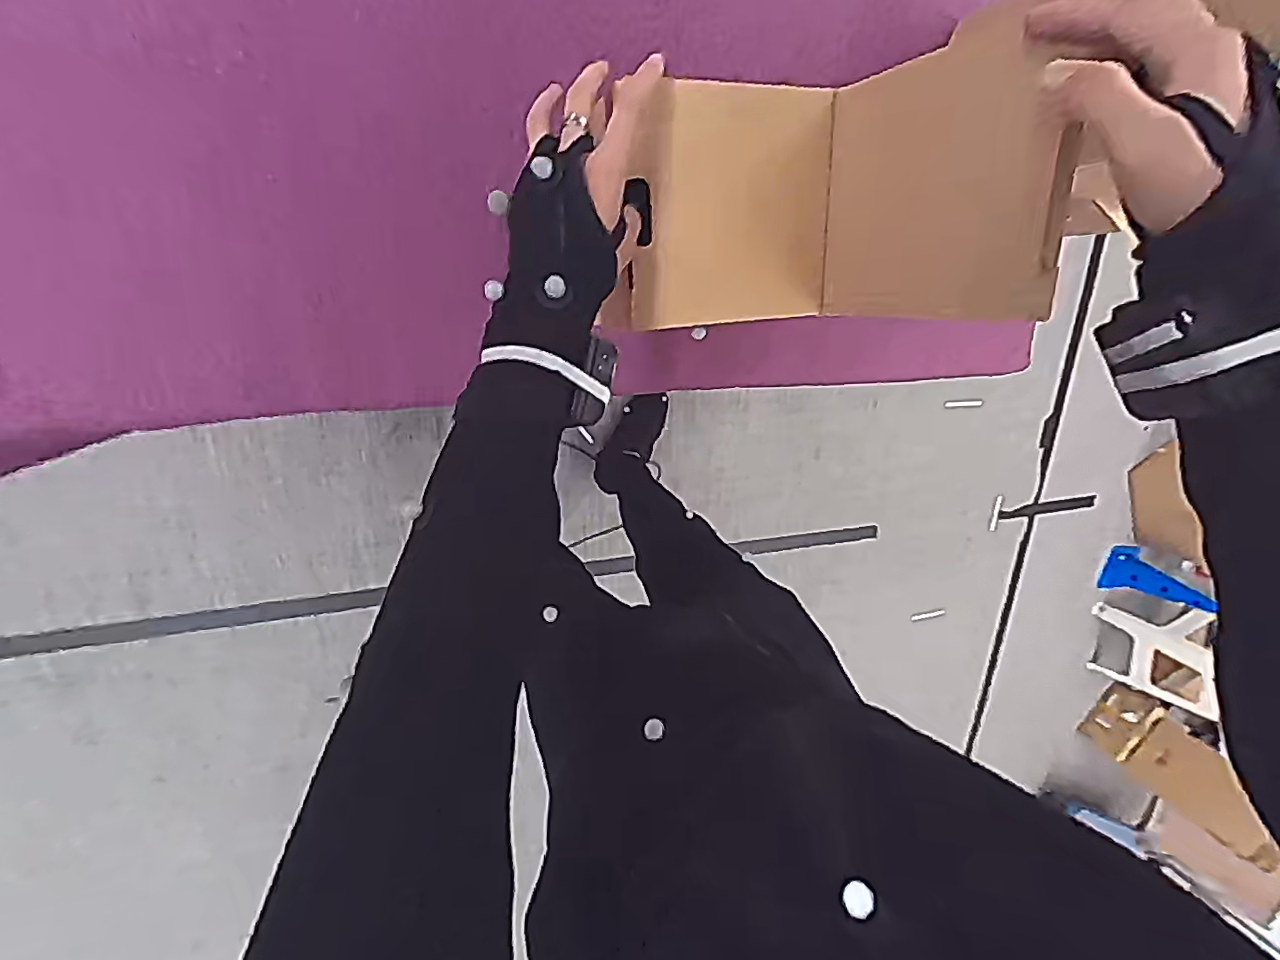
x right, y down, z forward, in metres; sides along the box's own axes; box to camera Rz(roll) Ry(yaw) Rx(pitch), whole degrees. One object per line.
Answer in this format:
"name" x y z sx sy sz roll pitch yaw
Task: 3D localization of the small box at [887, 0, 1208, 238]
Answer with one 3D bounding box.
"small box" 0.404 -0.370 0.560 0.179 0.176 0.168 20 100 -24
